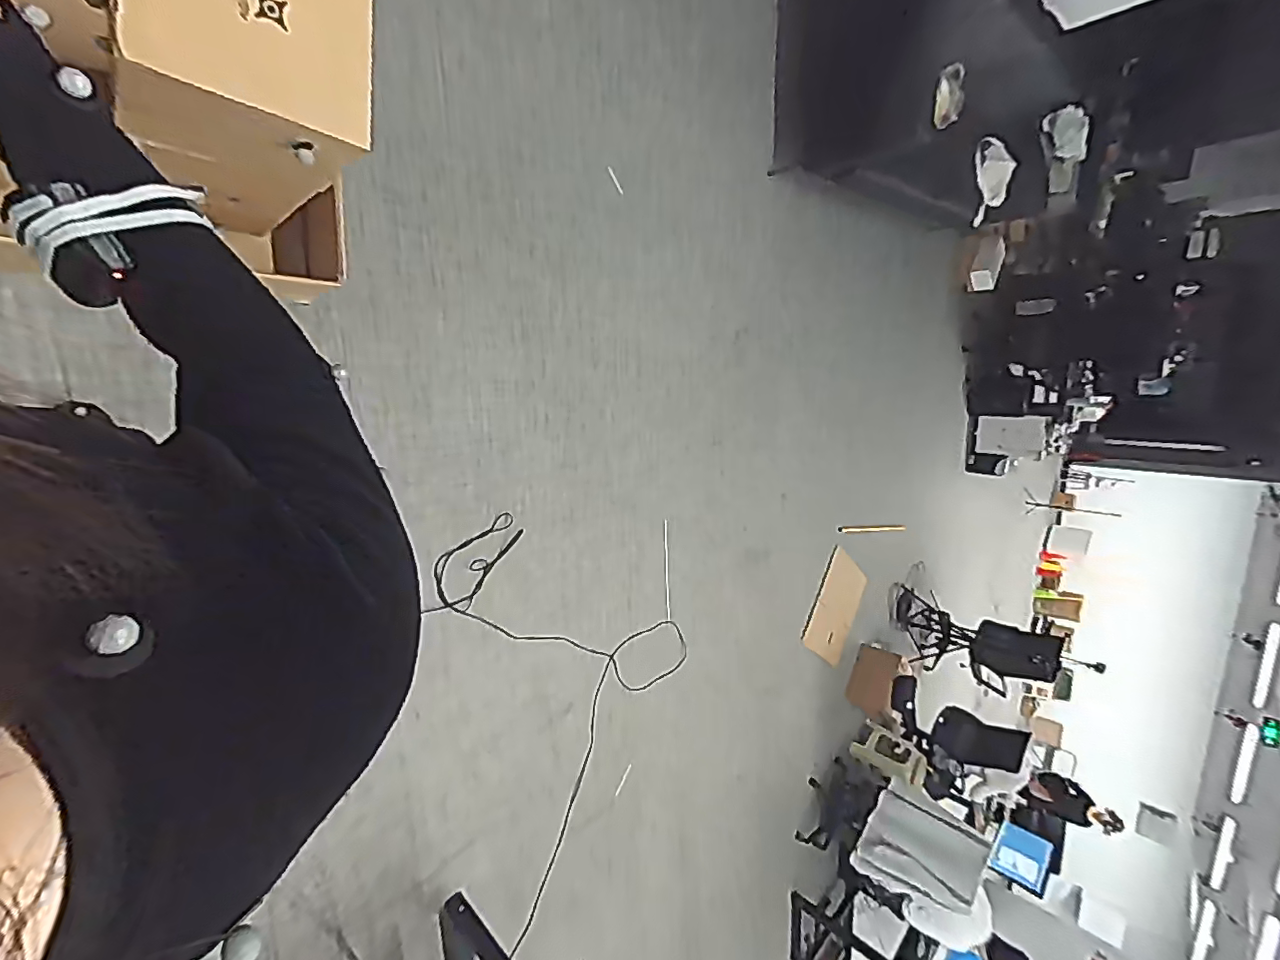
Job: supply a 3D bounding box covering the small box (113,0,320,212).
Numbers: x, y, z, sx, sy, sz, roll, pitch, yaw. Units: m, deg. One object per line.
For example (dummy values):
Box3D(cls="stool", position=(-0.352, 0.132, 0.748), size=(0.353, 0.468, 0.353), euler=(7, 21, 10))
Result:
Box3D(cls="small box", position=(-0.476, -0.430, 0.610), size=(0.168, 0.176, 0.179), euler=(-4, 102, -43))
